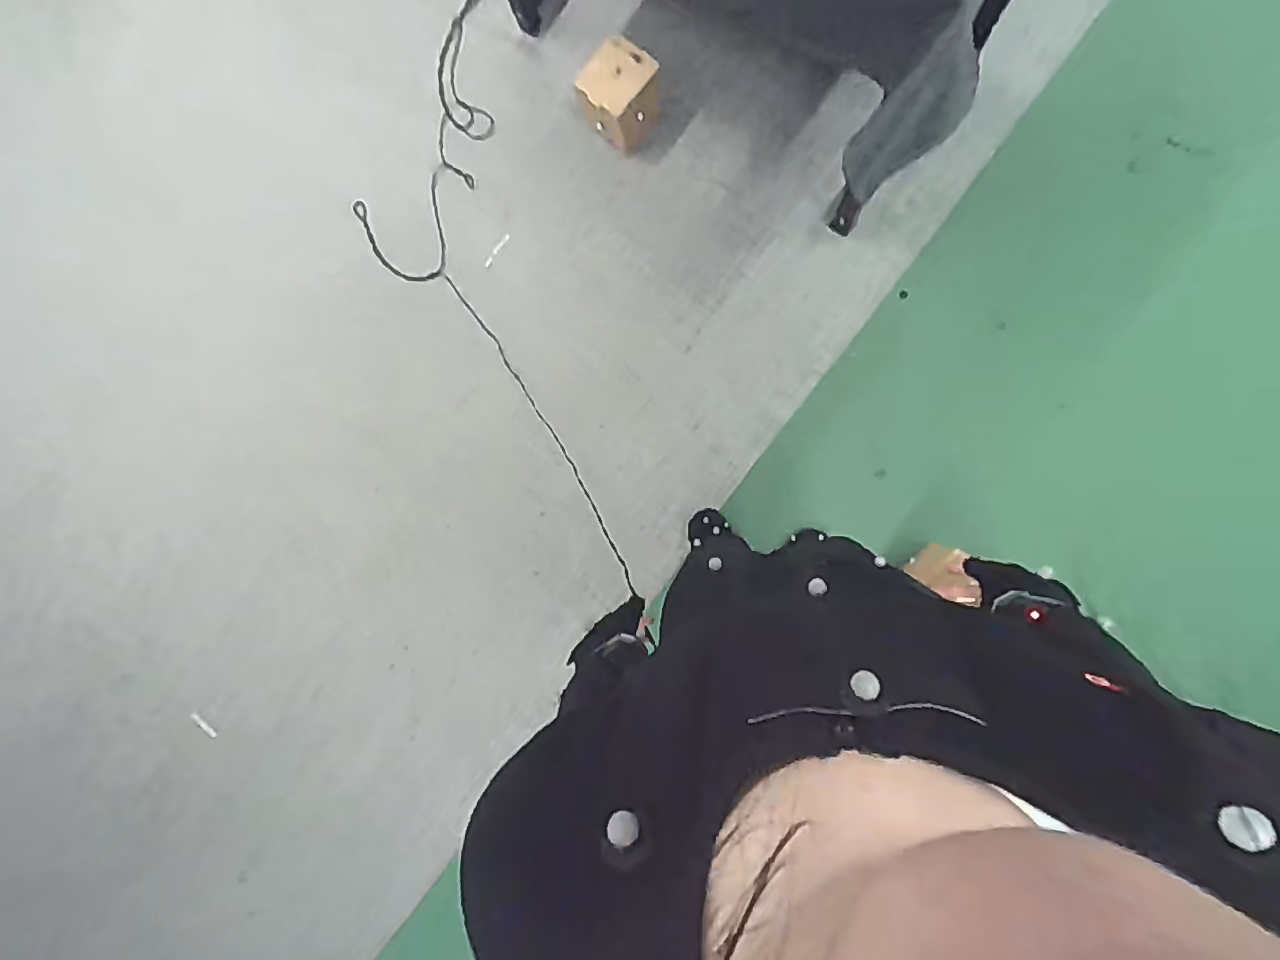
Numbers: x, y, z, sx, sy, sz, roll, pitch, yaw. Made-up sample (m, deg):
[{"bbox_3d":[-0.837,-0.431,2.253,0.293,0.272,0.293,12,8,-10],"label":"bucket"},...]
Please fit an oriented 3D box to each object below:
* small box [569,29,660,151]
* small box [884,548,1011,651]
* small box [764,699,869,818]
[{"bbox_3d":[-0.061,-1.053,1.477,0.168,0.176,0.179,42,94,8],"label":"small box"},{"bbox_3d":[0.739,0.281,1.320,0.168,0.176,0.179,-42,82,3],"label":"small box"},{"bbox_3d":[0.431,0.681,1.347,0.179,0.176,0.168,32,92,8],"label":"small box"}]
